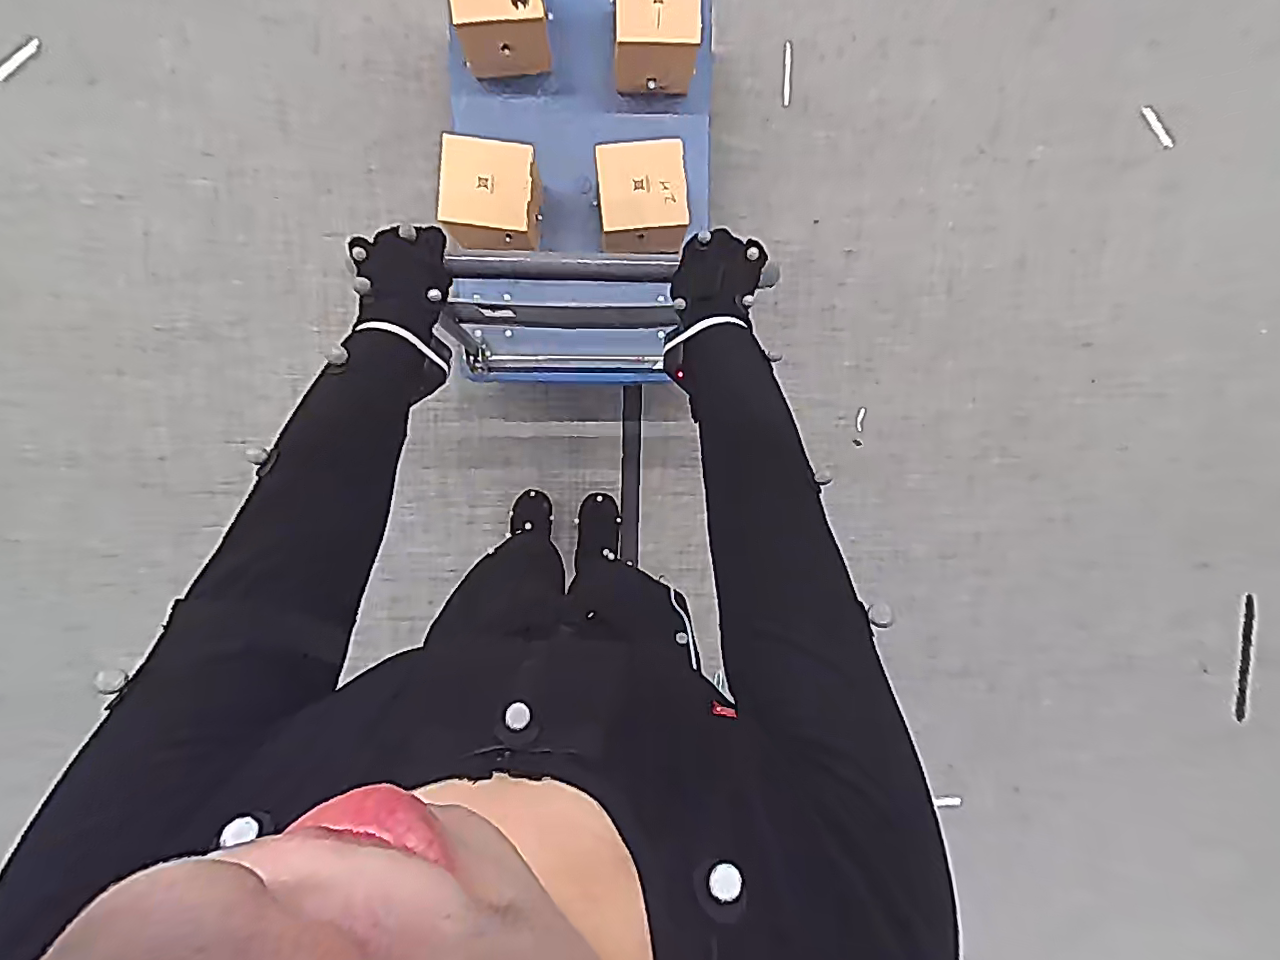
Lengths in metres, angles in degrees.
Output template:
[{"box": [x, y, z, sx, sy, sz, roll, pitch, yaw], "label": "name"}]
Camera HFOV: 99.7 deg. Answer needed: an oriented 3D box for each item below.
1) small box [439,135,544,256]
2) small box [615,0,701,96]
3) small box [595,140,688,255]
[{"box": [-0.305, -0.588, 1.138, 0.179, 0.176, 0.168, 5, 95, -5], "label": "small box"}, {"box": [0.032, -0.942, 1.120, 0.168, 0.176, 0.179, 0, 97, -3], "label": "small box"}, {"box": [0.002, -0.592, 1.153, 0.179, 0.176, 0.168, -6, 96, -2], "label": "small box"}]
